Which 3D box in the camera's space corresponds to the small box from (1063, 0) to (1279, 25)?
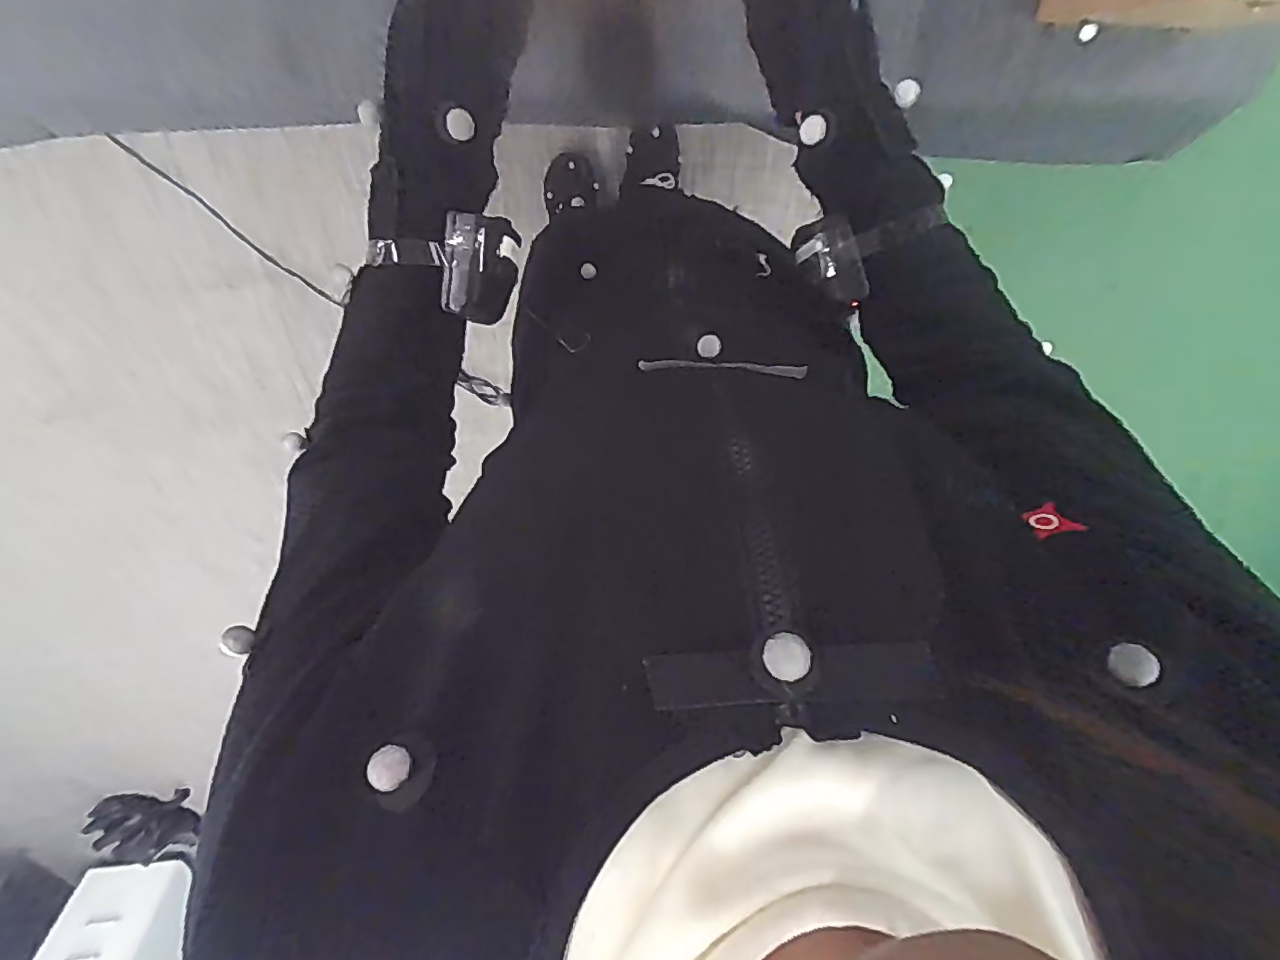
[{"bbox_3d":[0.441,-0.434,0.372,0.168,0.176,0.179,-3,125,-5],"label":"small box"}]
